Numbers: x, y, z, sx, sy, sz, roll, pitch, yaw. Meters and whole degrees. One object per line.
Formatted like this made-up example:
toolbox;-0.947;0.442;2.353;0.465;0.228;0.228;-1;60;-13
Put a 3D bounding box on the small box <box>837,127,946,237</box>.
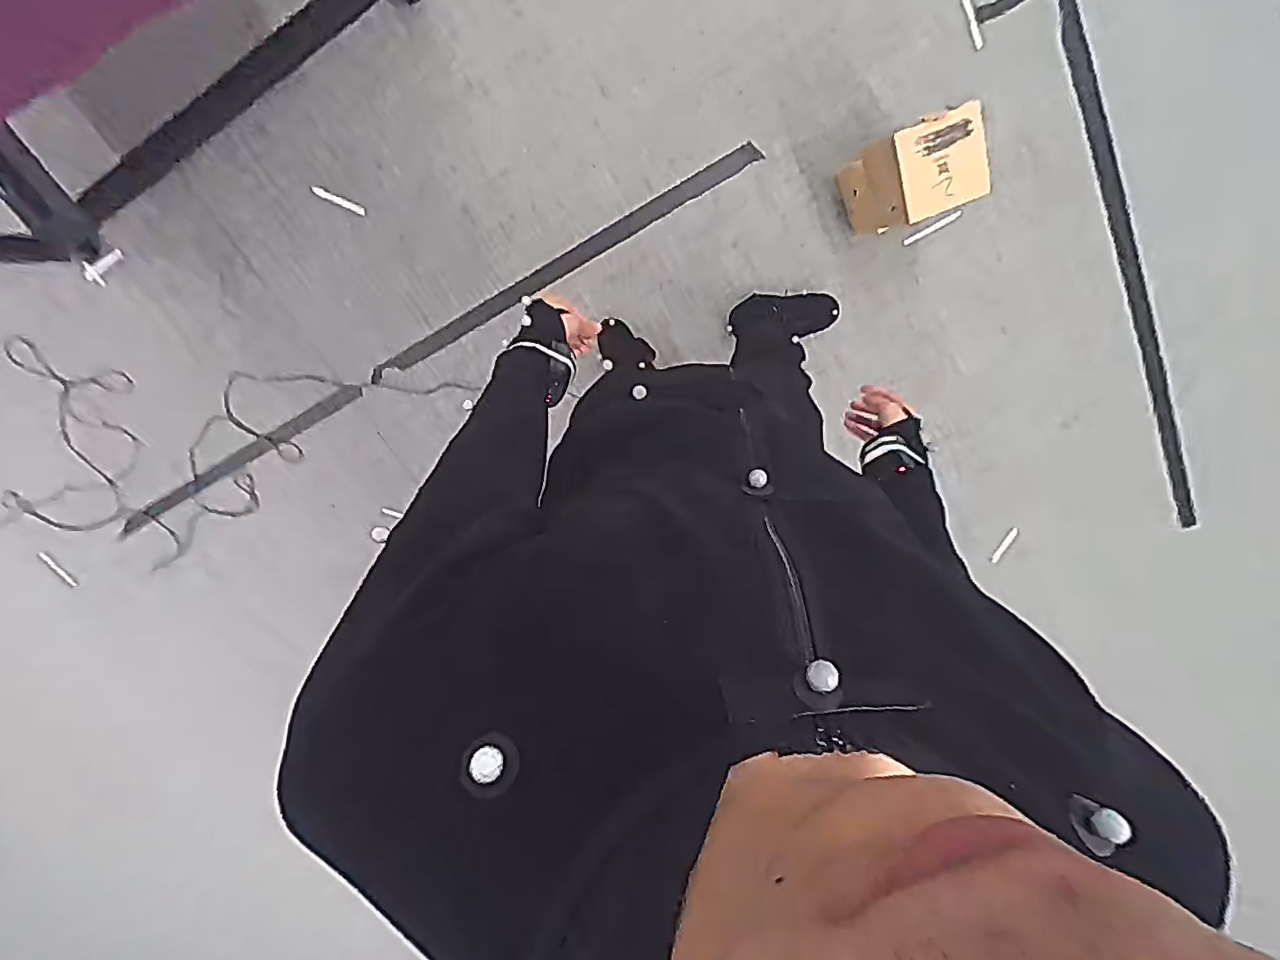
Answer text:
small box;0.595;-0.707;1.308;0.179;0.176;0.168;-24;109;9
